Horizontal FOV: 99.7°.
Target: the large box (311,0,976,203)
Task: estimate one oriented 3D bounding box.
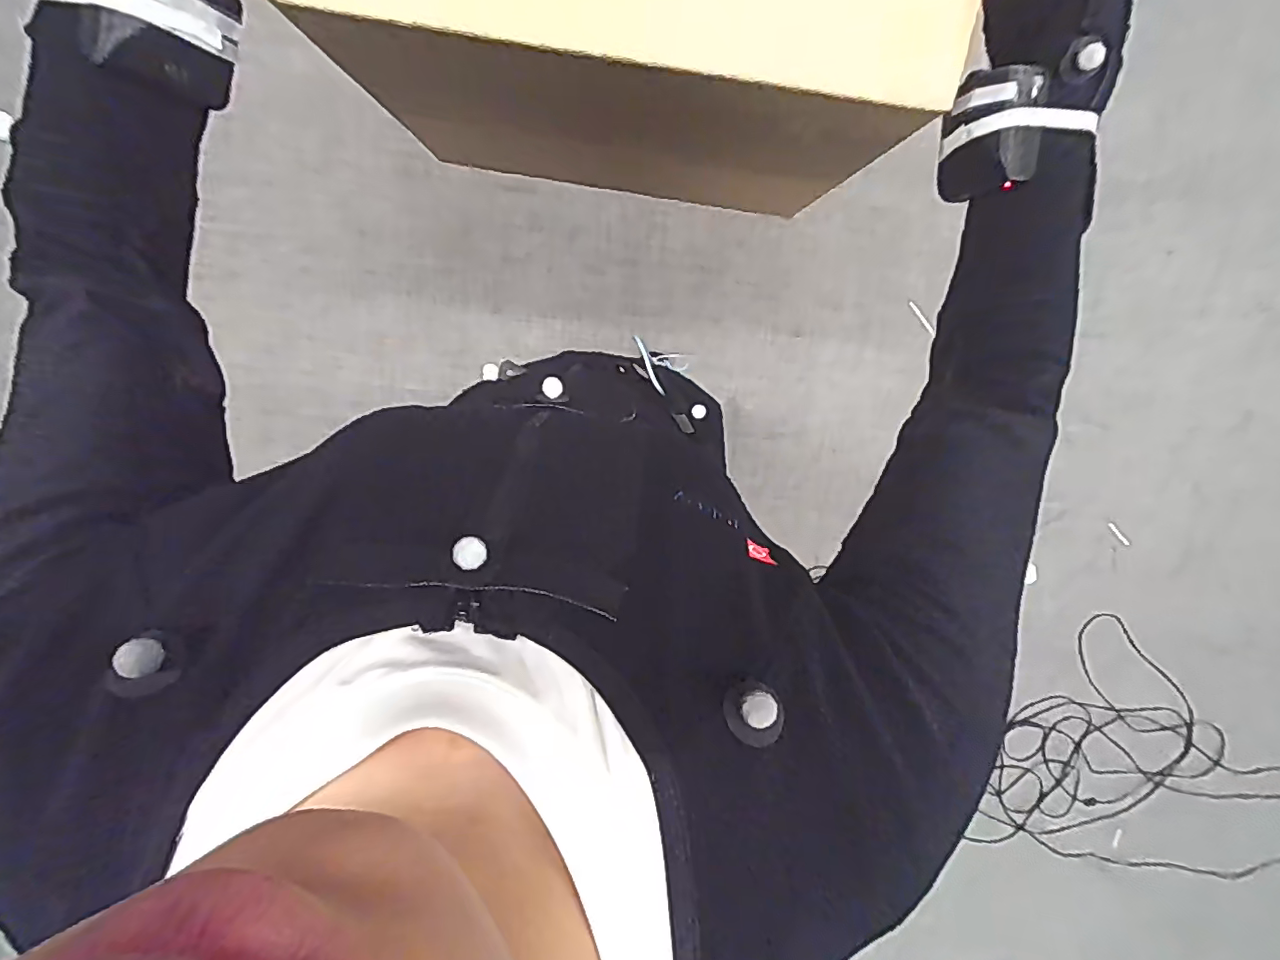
[{"bbox_3d":[0.007,-0.441,0.425,0.408,0.320,0.320,6,105,-5],"label":"large box"}]
